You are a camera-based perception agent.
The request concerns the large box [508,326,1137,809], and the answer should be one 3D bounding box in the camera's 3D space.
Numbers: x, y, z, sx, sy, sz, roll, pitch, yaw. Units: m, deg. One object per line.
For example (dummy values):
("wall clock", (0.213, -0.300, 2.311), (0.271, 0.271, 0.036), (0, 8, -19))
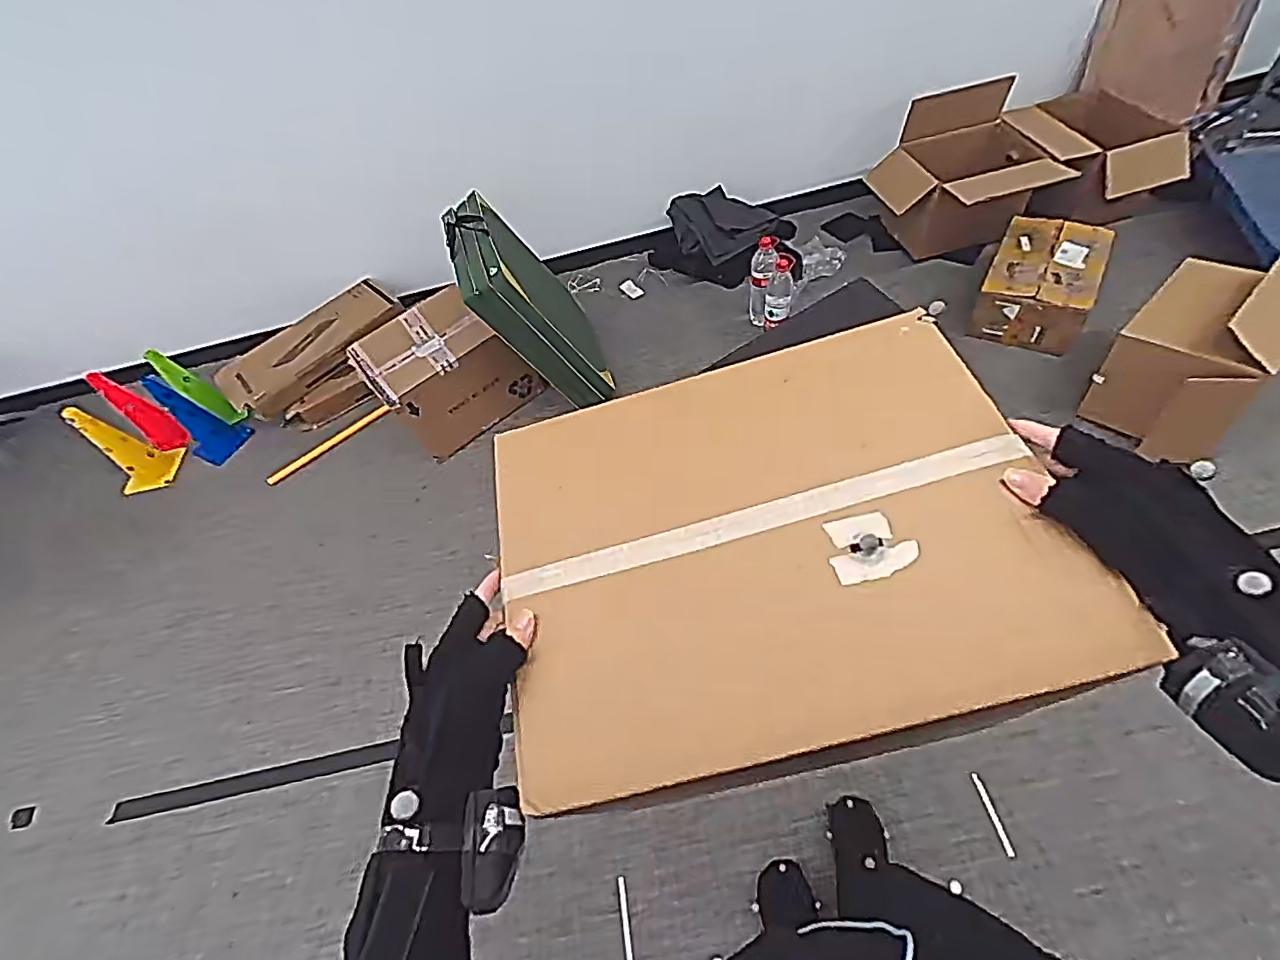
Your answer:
("large box", (0.121, 0.113, 0.552), (0.408, 0.320, 0.320), (-16, 58, 3))
